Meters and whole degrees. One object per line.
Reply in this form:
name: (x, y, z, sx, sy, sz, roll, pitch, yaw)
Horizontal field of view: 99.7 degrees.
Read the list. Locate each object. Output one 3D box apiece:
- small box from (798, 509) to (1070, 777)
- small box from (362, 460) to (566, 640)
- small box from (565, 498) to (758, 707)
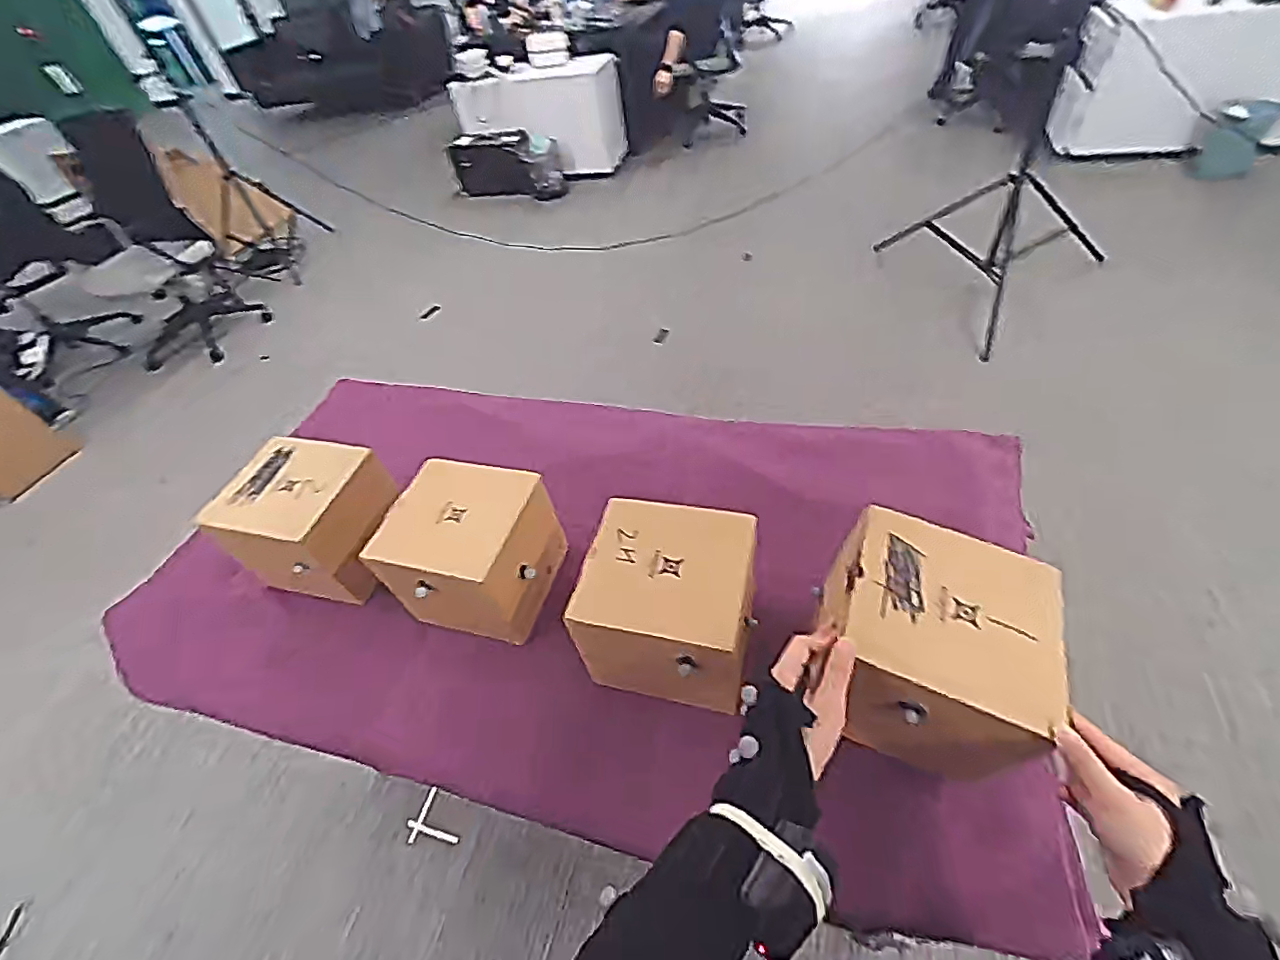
small box: (0.270, 0.162, 0.528, 0.179, 0.176, 0.168, 19, 53, 14)
small box: (-0.219, 0.097, 0.731, 0.179, 0.176, 0.168, 7, 51, 18)
small box: (0.038, 0.146, 0.633, 0.179, 0.176, 0.168, 6, 49, 17)
